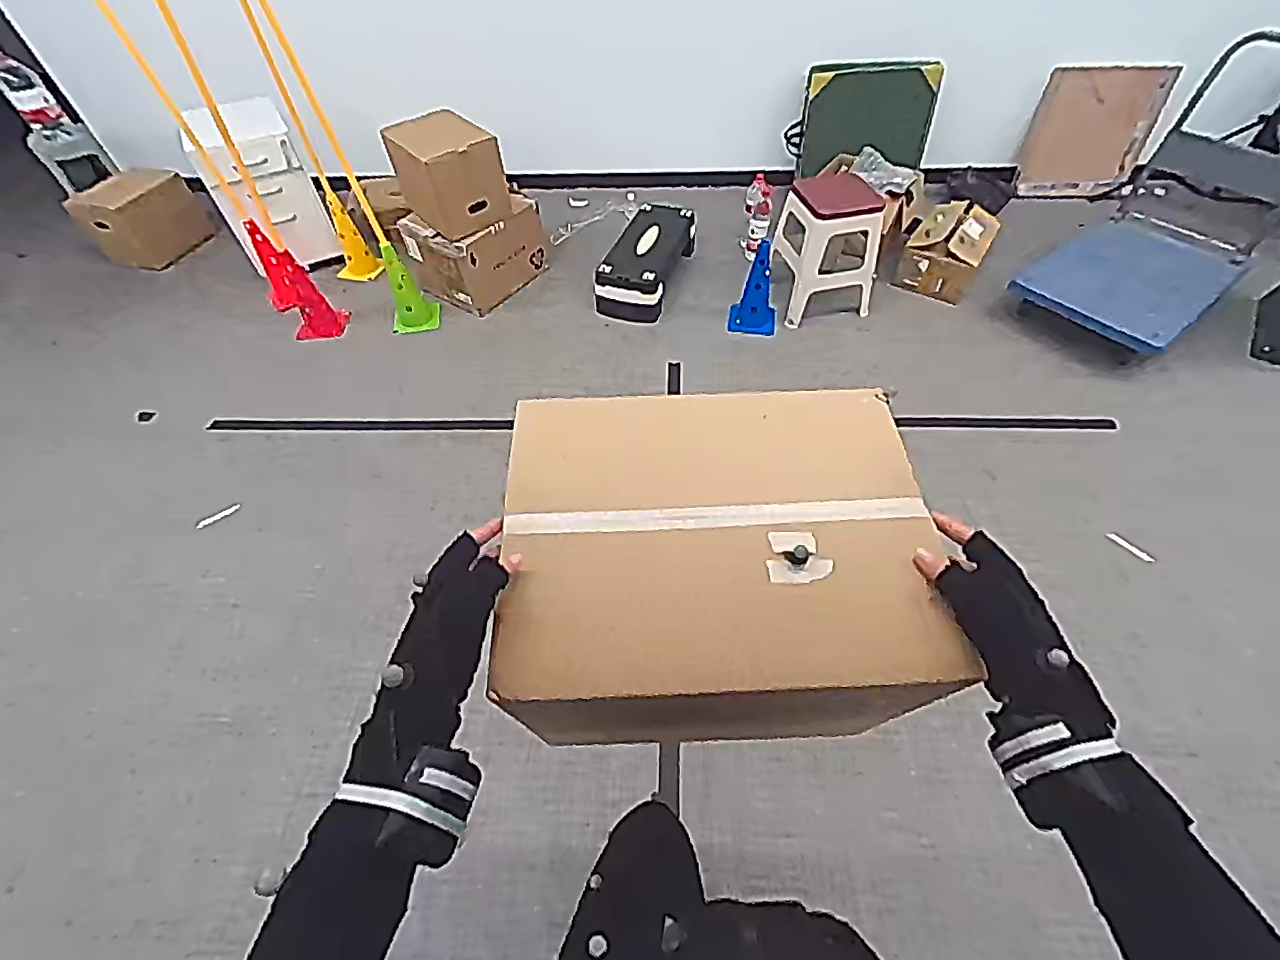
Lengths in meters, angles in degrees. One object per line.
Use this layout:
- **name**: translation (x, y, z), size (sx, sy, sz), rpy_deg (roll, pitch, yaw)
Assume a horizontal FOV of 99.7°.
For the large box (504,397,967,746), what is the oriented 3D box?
- **large box**: translation (0.073, 0.122, 0.656), size (0.408, 0.320, 0.320), rpy_deg (-2, 58, -2)
